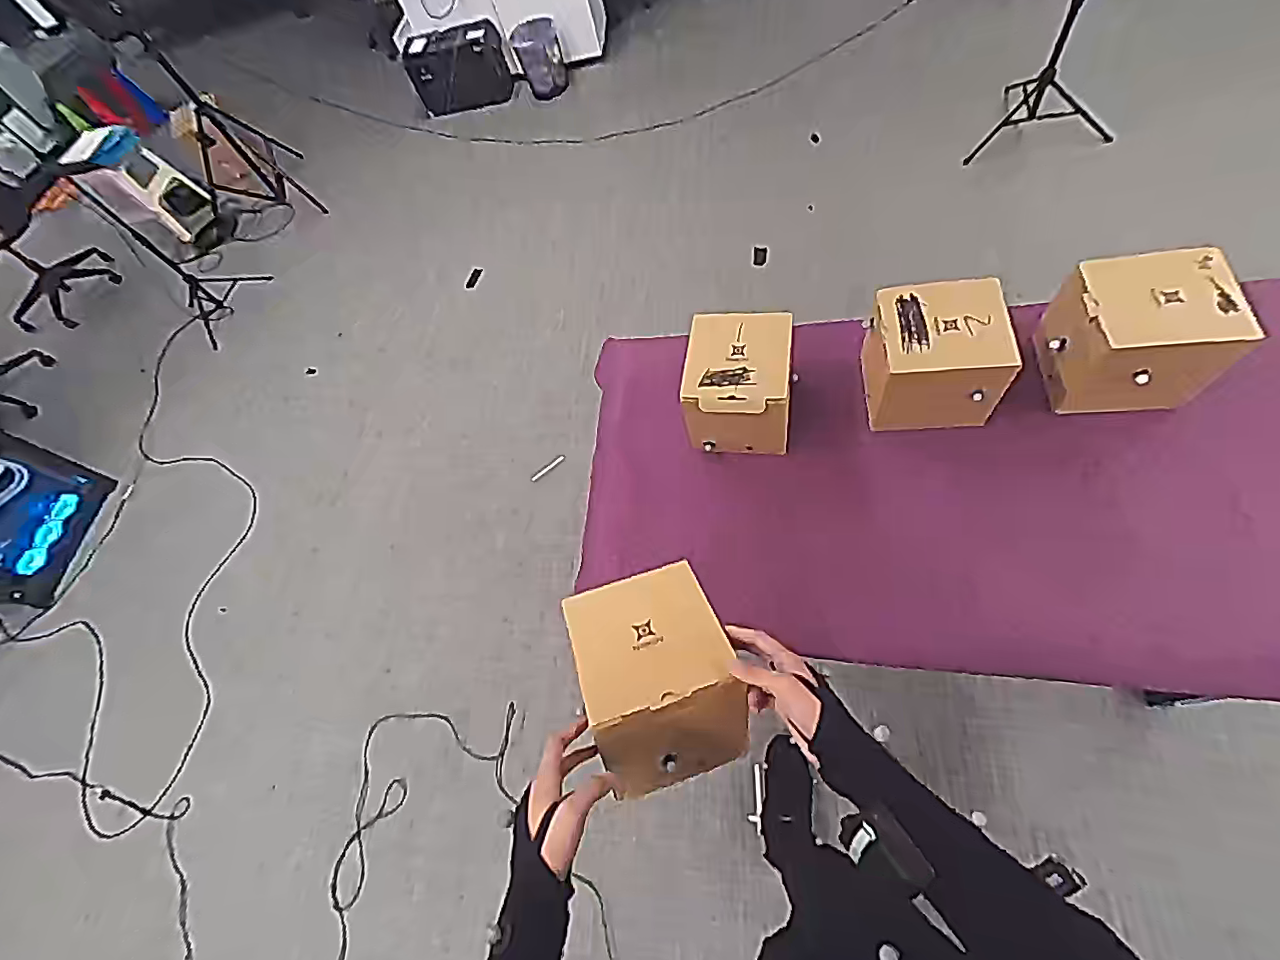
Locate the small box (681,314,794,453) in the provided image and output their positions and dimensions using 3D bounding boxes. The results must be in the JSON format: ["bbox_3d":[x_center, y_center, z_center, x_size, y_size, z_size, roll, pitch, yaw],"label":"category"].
[{"bbox_3d":[0.173,-0.158,0.923,0.168,0.176,0.179,4,64,15],"label":"small box"}]

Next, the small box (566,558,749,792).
[{"bbox_3d":[0.019,0.228,0.645,0.168,0.176,0.179,-16,38,-9],"label":"small box"}]
